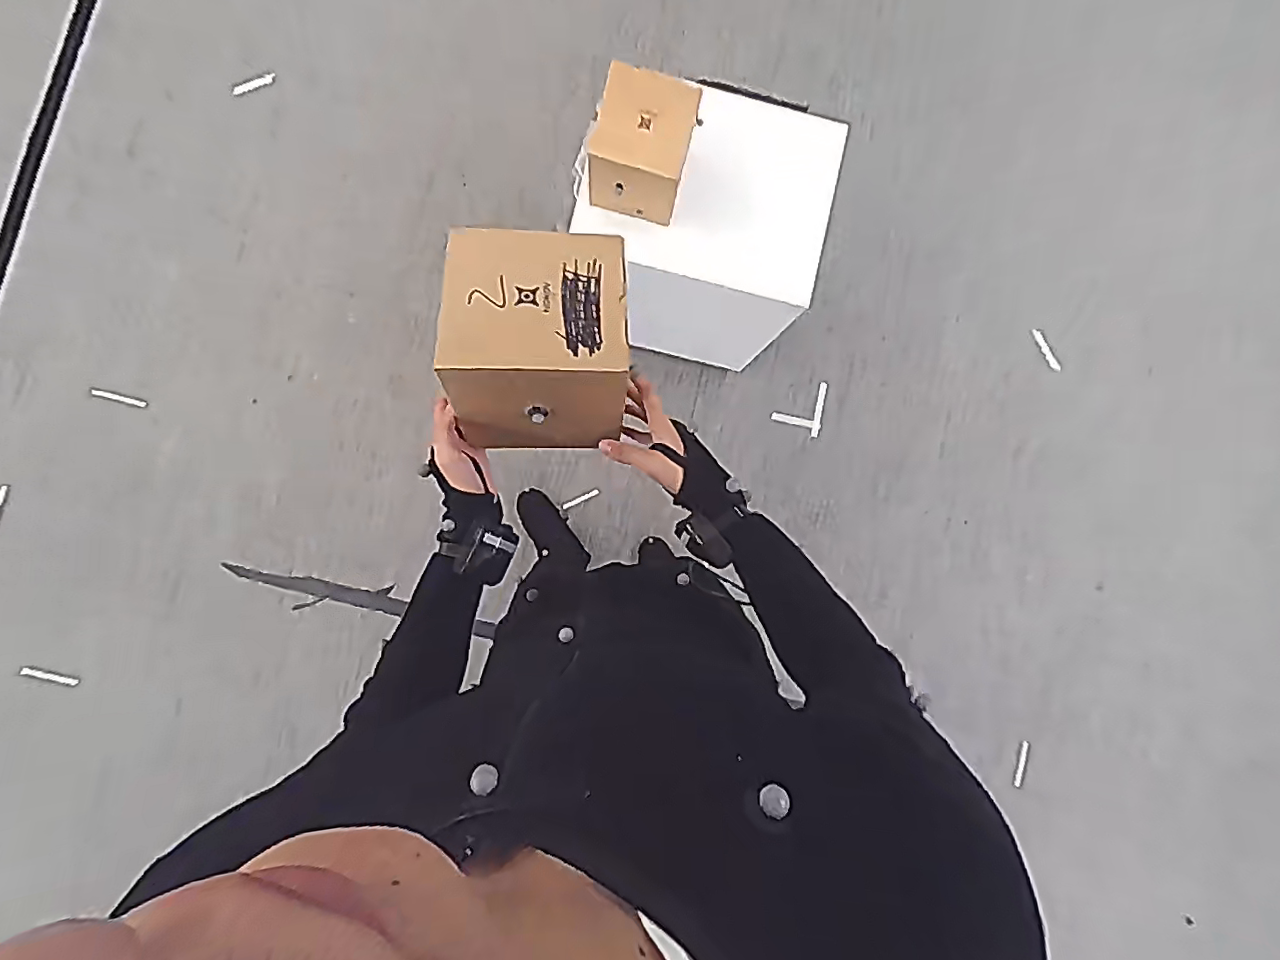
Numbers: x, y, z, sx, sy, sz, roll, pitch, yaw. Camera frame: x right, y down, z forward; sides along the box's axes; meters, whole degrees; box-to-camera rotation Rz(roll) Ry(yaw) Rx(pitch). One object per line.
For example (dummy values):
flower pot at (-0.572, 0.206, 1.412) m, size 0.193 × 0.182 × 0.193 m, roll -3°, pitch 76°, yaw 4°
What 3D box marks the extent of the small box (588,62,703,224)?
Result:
small box at (0.007, -0.611, 1.005) m, size 0.168 × 0.176 × 0.179 m, roll 14°, pitch 87°, yaw -4°
